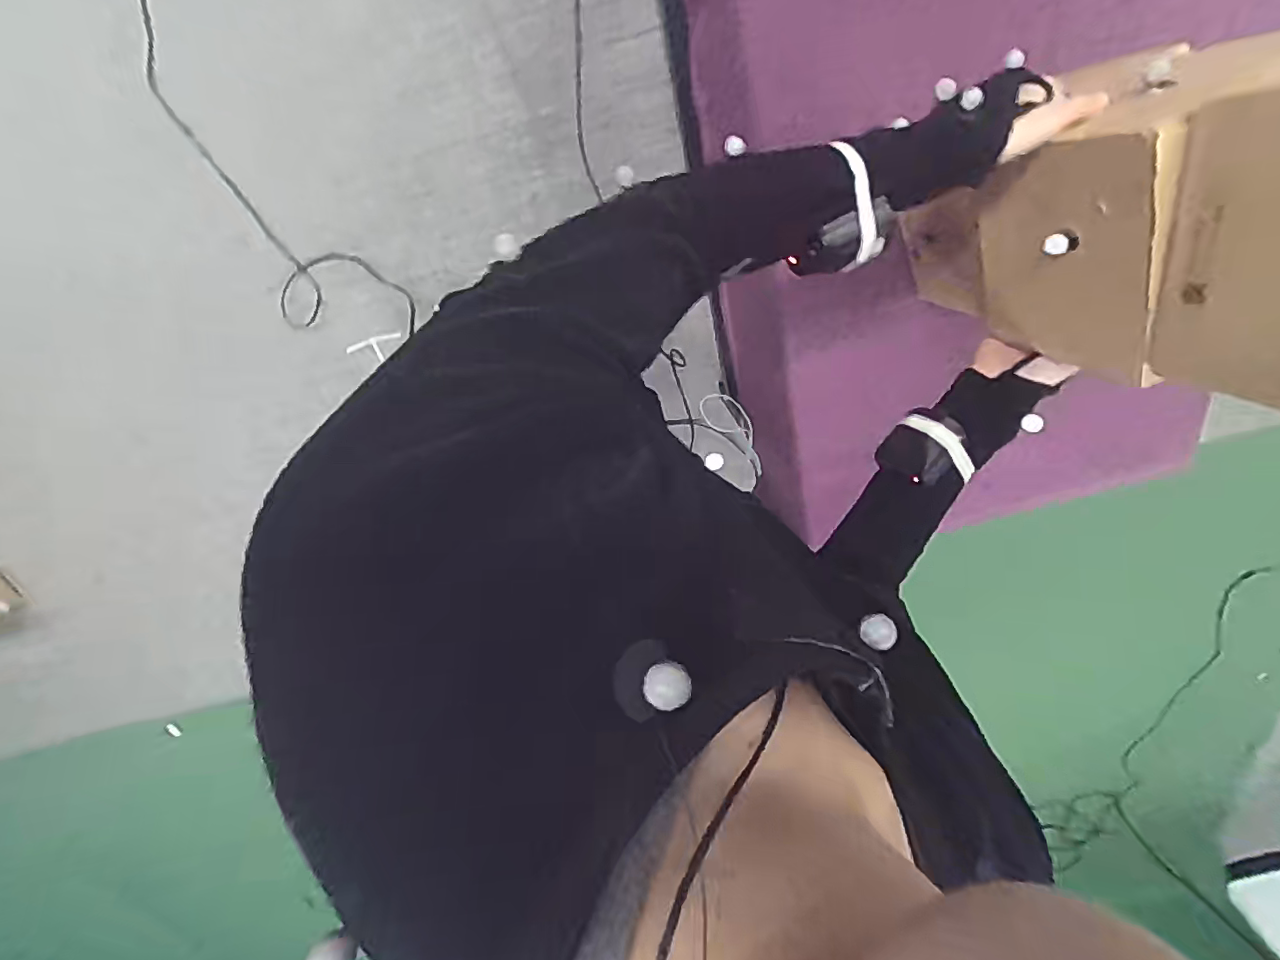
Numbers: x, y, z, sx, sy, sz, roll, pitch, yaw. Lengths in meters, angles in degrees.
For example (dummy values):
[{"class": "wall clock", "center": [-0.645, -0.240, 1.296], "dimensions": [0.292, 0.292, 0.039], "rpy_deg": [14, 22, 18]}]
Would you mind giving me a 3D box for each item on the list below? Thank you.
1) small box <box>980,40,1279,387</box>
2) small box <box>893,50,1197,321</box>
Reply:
[{"class": "small box", "center": [0.389, -0.200, 0.409], "dimensions": [0.168, 0.176, 0.179], "rpy_deg": [-21, 118, 7]}, {"class": "small box", "center": [0.395, -0.287, 0.550], "dimensions": [0.179, 0.176, 0.168], "rpy_deg": [-26, 117, 9]}]
